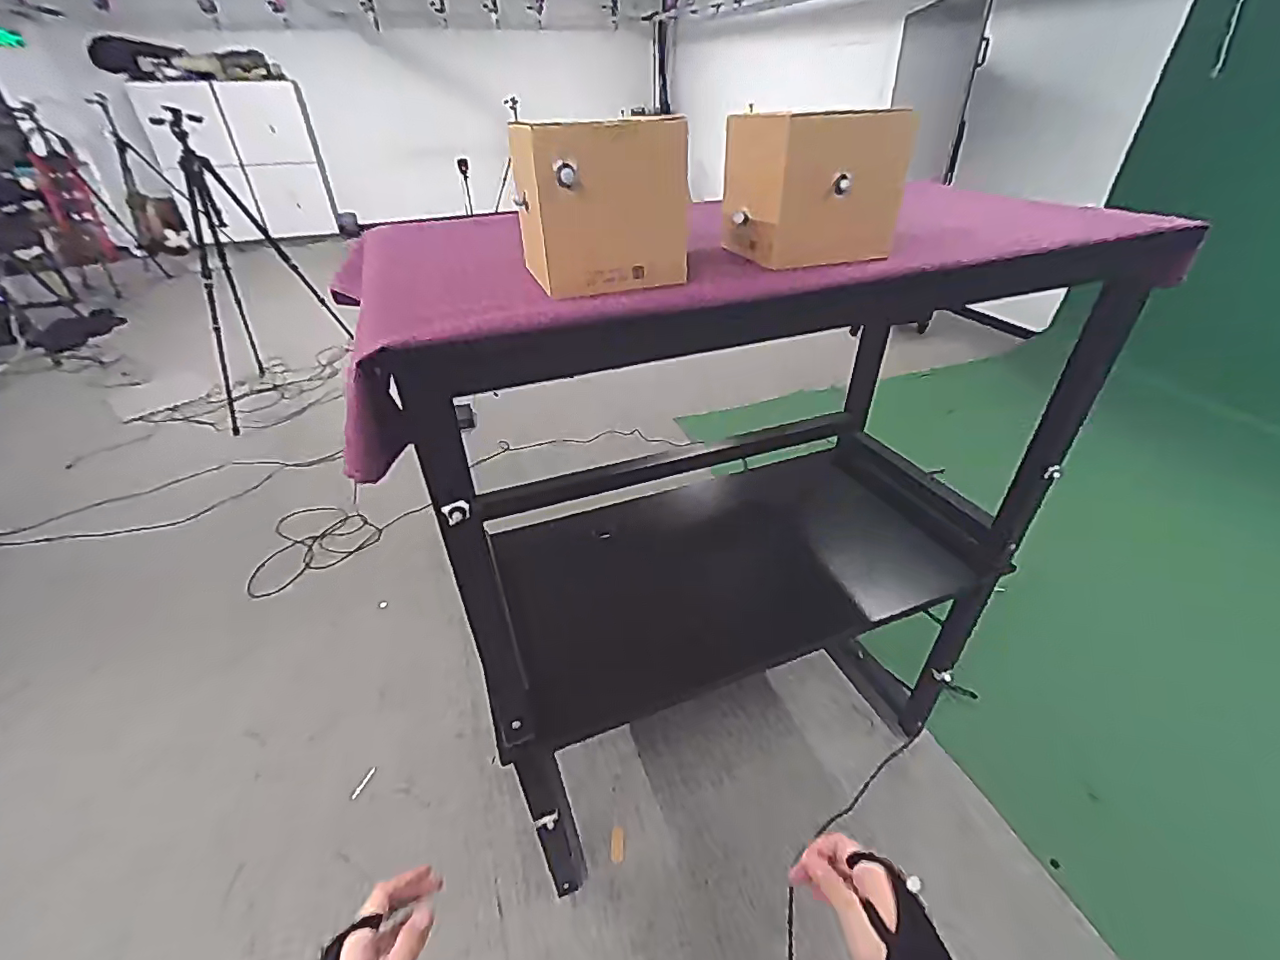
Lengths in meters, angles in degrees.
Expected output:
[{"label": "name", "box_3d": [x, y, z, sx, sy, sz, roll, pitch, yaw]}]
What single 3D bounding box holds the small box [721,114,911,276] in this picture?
[{"label": "small box", "box_3d": [0.220, -0.387, 0.728, 0.179, 0.176, 0.168, -12, 35, -12]}]
